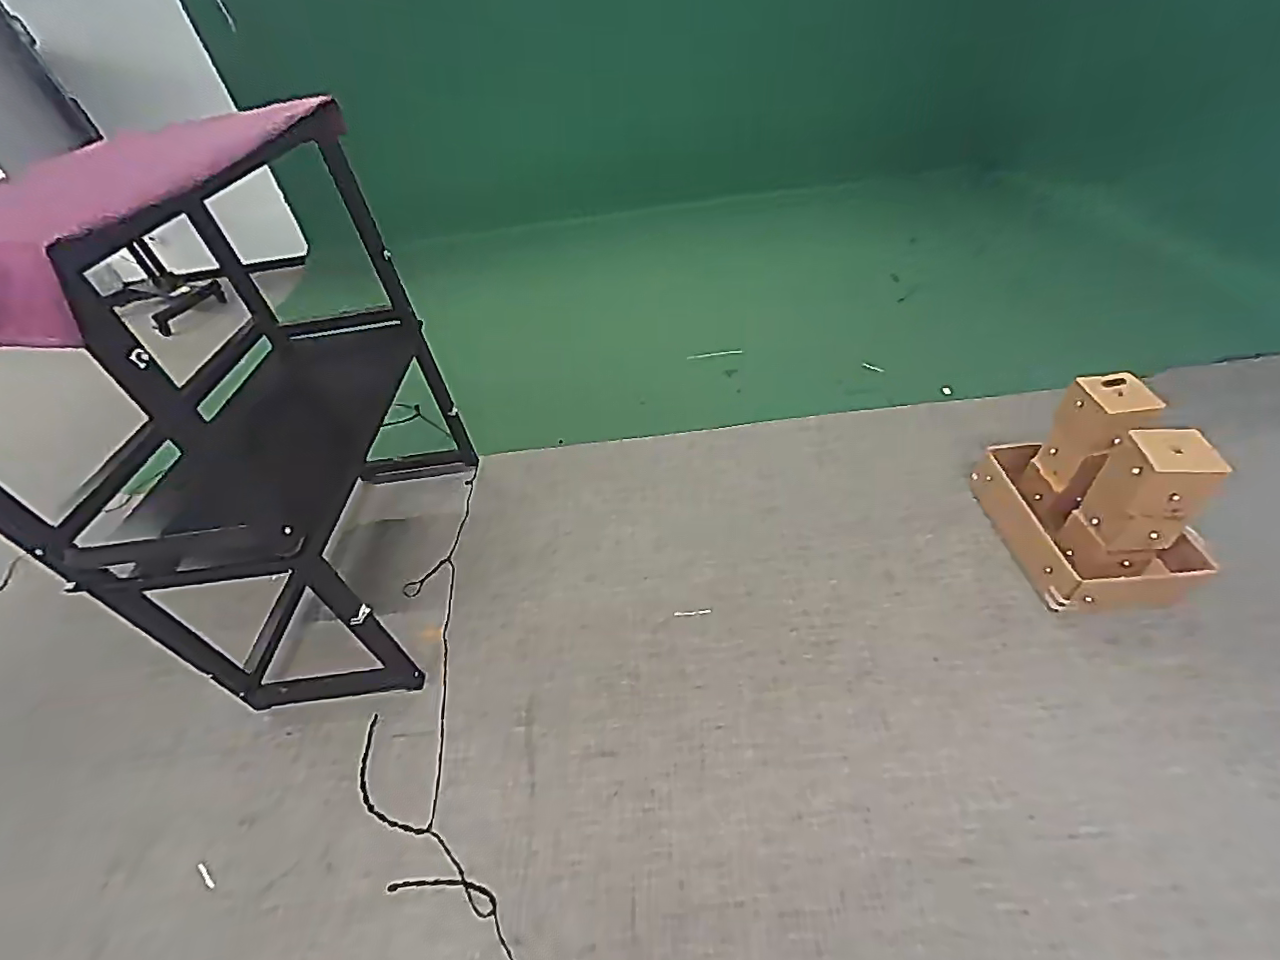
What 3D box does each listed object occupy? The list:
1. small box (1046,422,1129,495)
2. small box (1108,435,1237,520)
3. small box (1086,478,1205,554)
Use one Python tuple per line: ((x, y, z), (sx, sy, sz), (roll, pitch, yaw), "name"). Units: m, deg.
((1.488, -0.066, 1.787), (0.179, 0.176, 0.168), (-7, 45, 3), "small box")
((1.442, -0.005, 1.480), (0.168, 0.176, 0.179), (1, 43, 13), "small box")
((1.480, 0.106, 1.598), (0.168, 0.176, 0.179), (-4, 43, 7), "small box")
